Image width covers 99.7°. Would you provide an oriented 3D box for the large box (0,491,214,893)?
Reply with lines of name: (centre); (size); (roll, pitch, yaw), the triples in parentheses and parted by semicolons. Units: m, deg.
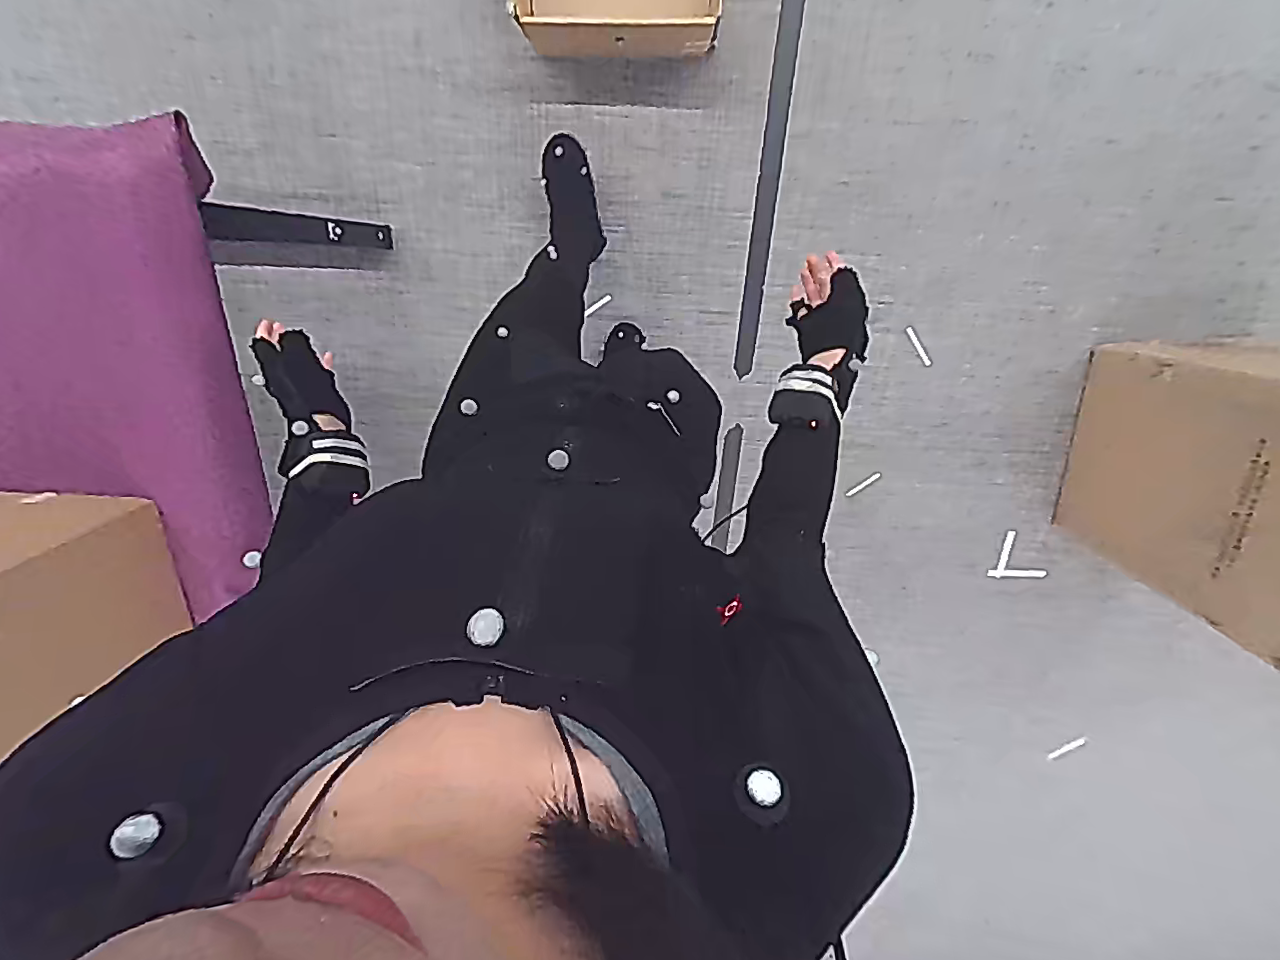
large box: (-0.874, 0.255, 0.722); (0.320, 0.320, 0.408); (2, 110, -1)
